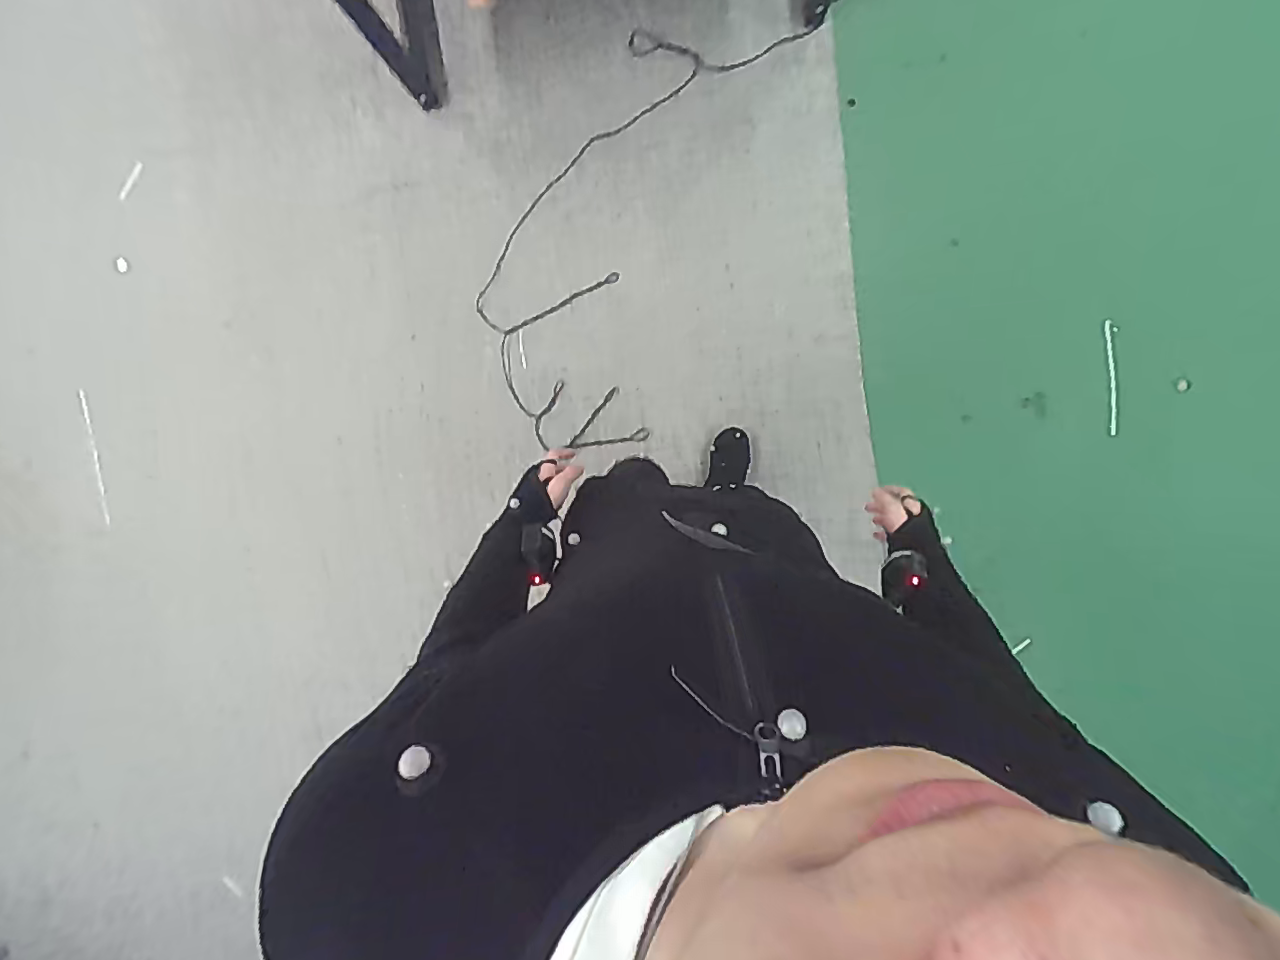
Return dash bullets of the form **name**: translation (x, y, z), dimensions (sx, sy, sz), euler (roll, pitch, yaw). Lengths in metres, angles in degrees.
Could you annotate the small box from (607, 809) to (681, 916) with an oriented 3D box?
- **small box**: translation (0.015, 1.012, 1.447), dimensions (0.168, 0.176, 0.179), euler (-10, 94, 6)
